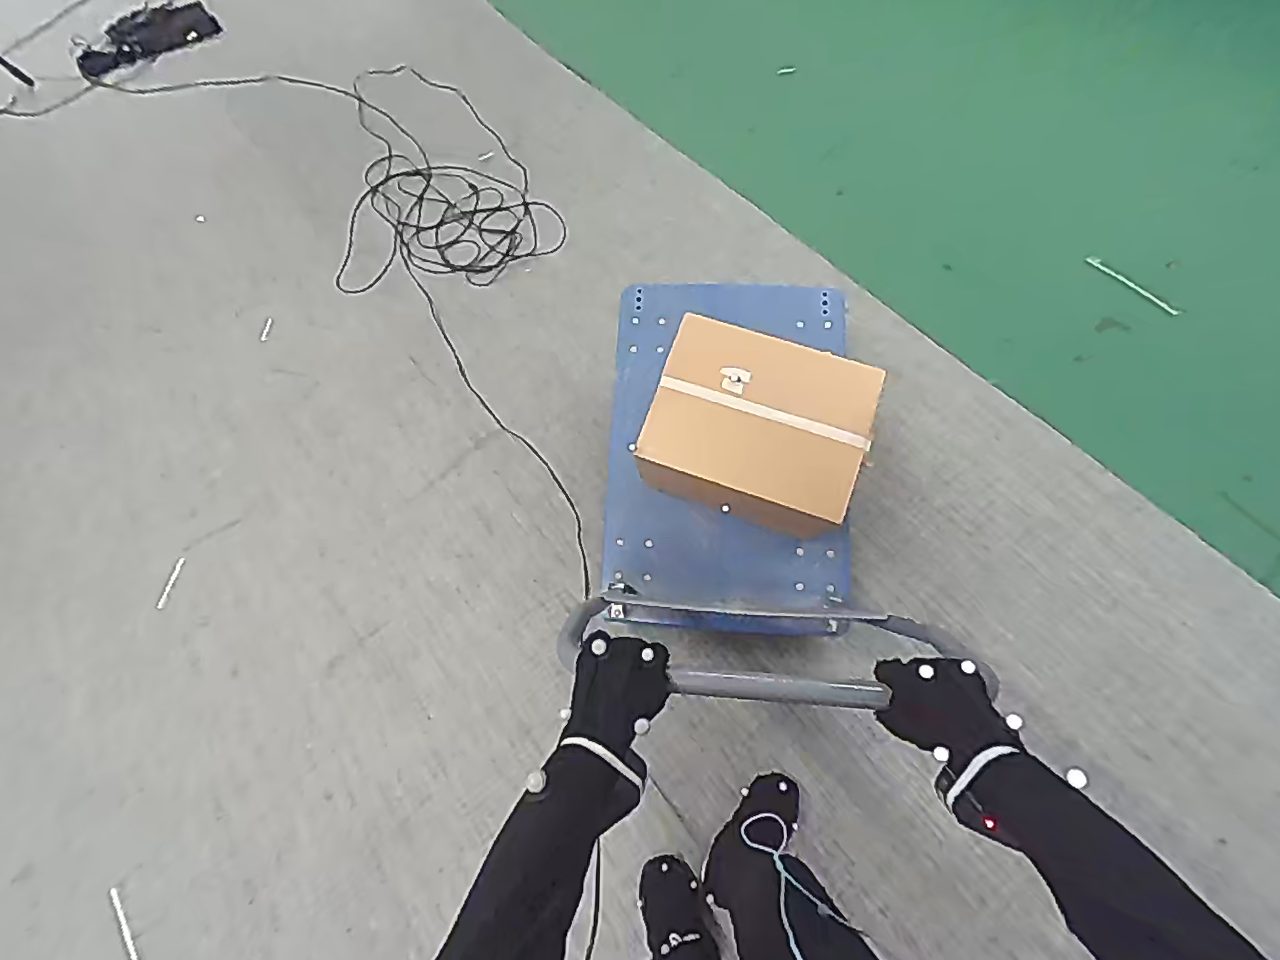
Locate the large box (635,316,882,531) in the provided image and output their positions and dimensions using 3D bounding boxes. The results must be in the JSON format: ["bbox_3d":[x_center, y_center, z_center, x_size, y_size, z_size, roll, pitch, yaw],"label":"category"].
[{"bbox_3d":[0.240,-0.101,1.166,0.408,0.320,0.320,18,81,9],"label":"large box"}]
